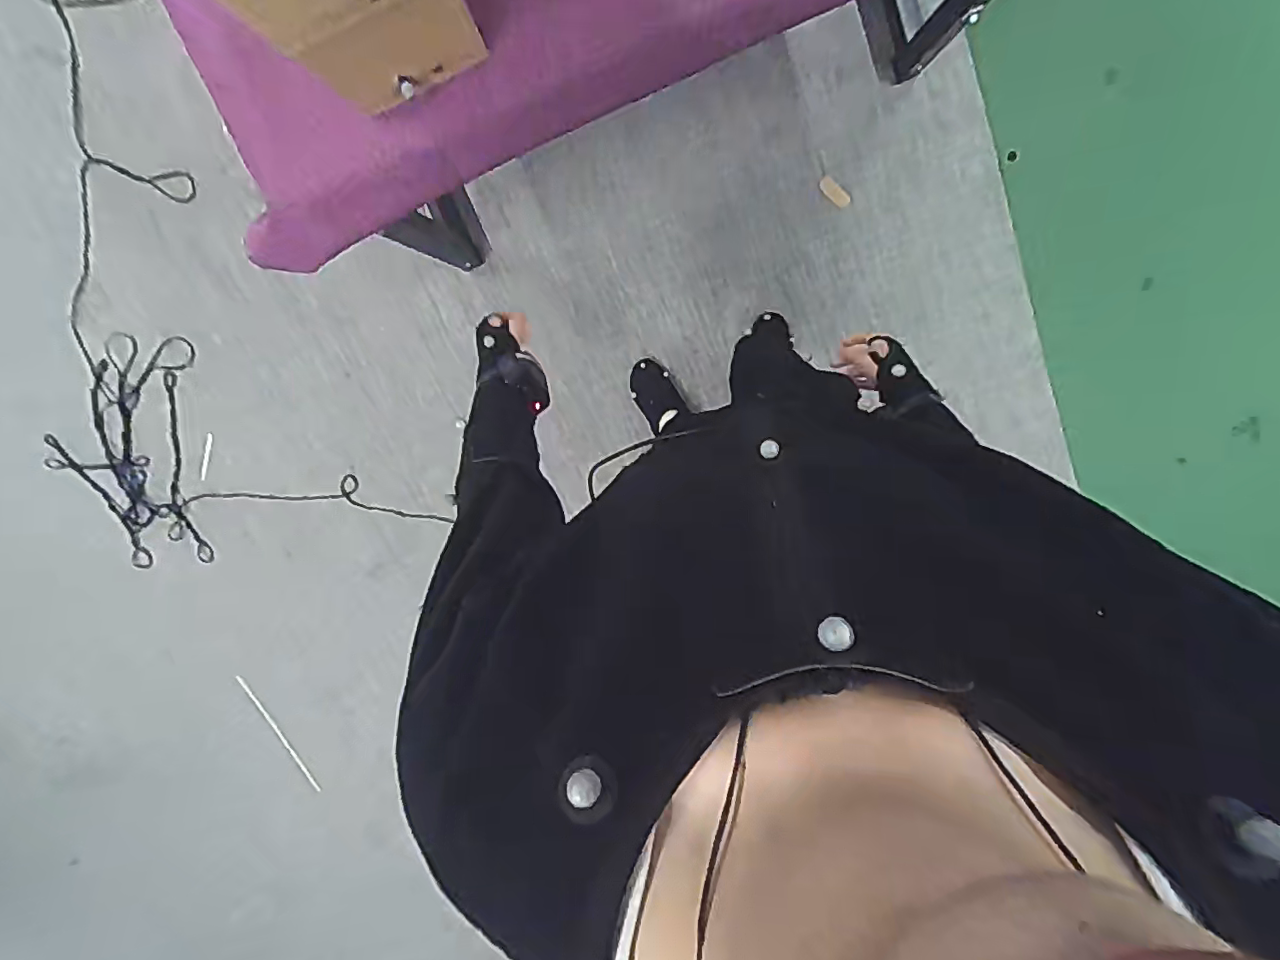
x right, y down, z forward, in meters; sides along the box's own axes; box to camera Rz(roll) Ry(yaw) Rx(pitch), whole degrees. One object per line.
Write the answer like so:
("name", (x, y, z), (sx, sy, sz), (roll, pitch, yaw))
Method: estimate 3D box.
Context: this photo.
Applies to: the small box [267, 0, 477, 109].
("small box", (-0.295, -0.534, 0.552), (0.168, 0.176, 0.179), (-23, 103, 6))
